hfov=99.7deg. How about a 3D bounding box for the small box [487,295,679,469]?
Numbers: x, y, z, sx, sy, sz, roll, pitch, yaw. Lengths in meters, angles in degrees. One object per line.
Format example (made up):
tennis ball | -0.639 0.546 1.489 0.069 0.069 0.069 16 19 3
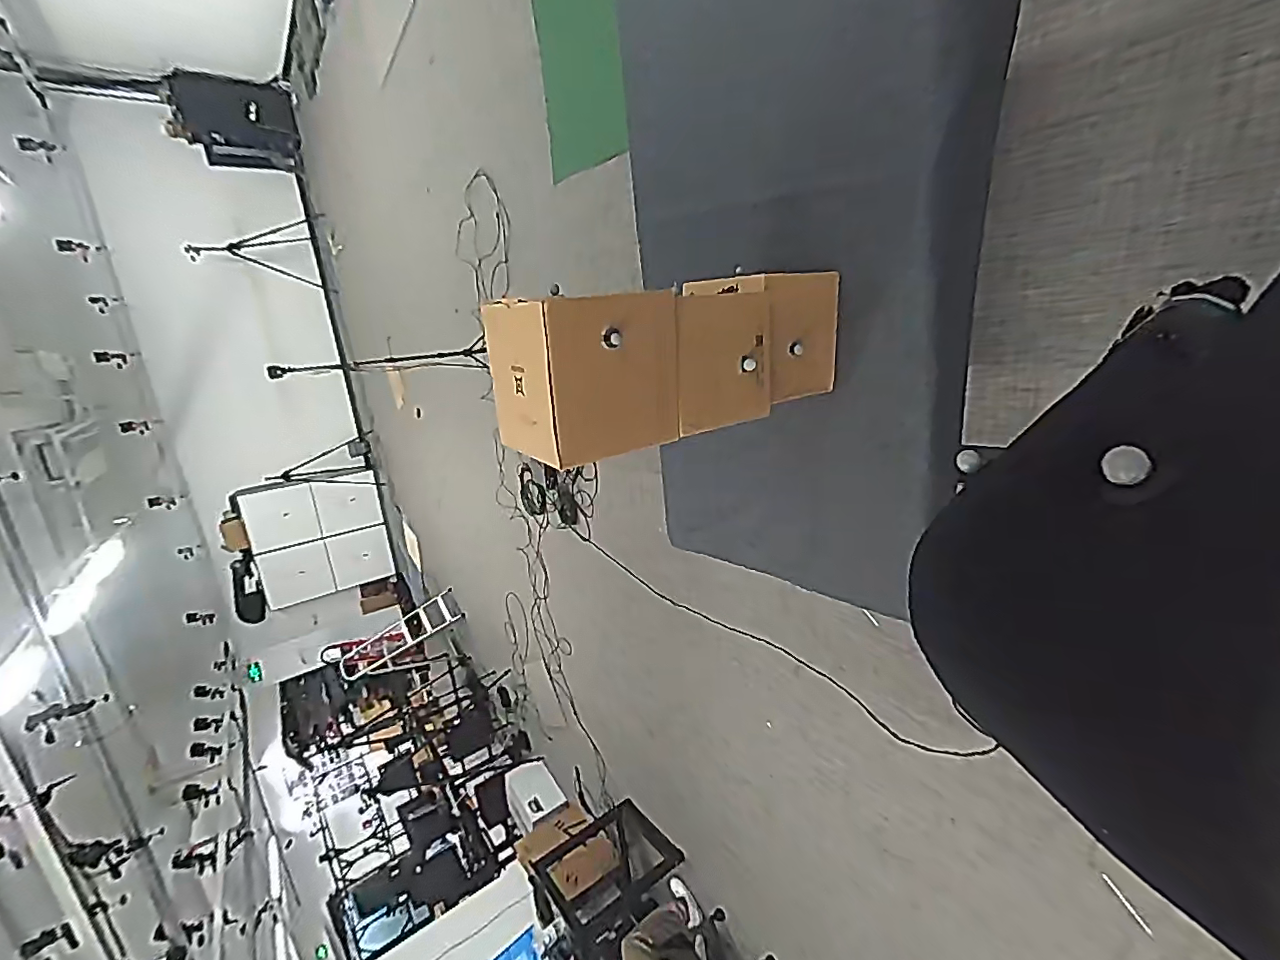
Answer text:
small box | -0.067 -0.132 0.663 0.168 0.176 0.179 22 123 52

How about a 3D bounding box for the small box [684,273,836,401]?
small box | 0.188 -0.223 0.847 0.168 0.176 0.179 20 120 51

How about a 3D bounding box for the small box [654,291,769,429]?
small box | 0.058 -0.169 0.760 0.179 0.176 0.168 15 116 55
